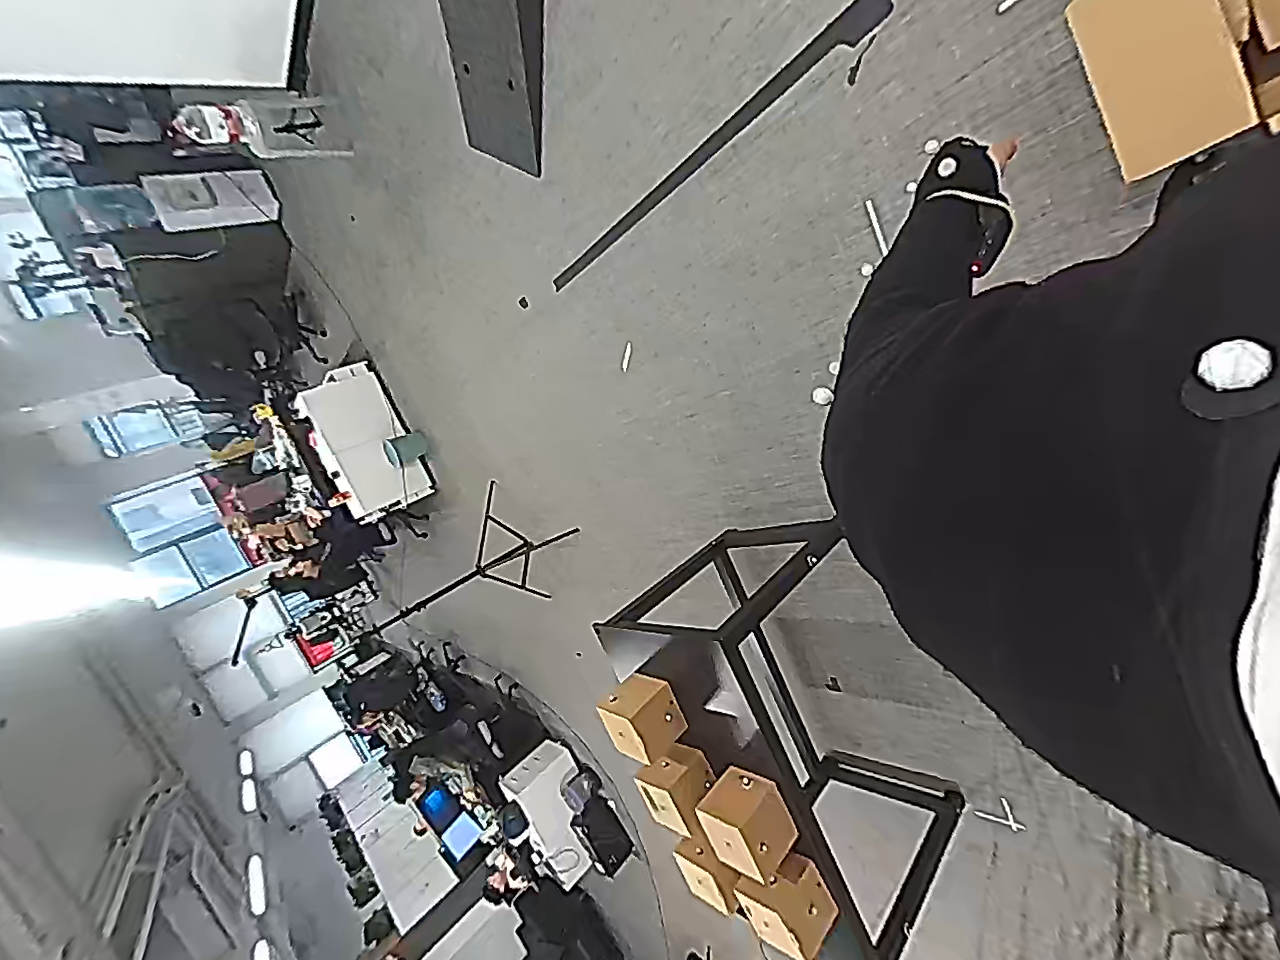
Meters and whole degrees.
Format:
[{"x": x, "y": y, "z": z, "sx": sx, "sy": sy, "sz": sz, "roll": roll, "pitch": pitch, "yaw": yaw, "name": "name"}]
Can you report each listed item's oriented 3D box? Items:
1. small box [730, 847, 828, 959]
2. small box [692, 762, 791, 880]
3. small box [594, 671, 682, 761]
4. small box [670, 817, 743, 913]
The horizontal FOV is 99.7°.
[{"x": 0.386, "y": 1.135, "z": 1.477, "sx": 0.179, "sy": 0.176, "sz": 0.168, "roll": -24, "pitch": 95, "yaw": 53, "name": "small box"}, {"x": 0.276, "y": 0.904, "z": 1.449, "sx": 0.168, "sy": 0.176, "sz": 0.179, "roll": -16, "pitch": 101, "yaw": 52, "name": "small box"}, {"x": -0.004, "y": 0.703, "z": 1.635, "sx": 0.179, "sy": 0.176, "sz": 0.168, "roll": -10, "pitch": 107, "yaw": 52, "name": "small box"}, {"x": 0.230, "y": 1.182, "z": 1.693, "sx": 0.179, "sy": 0.176, "sz": 0.168, "roll": -12, "pitch": 105, "yaw": 51, "name": "small box"}]
